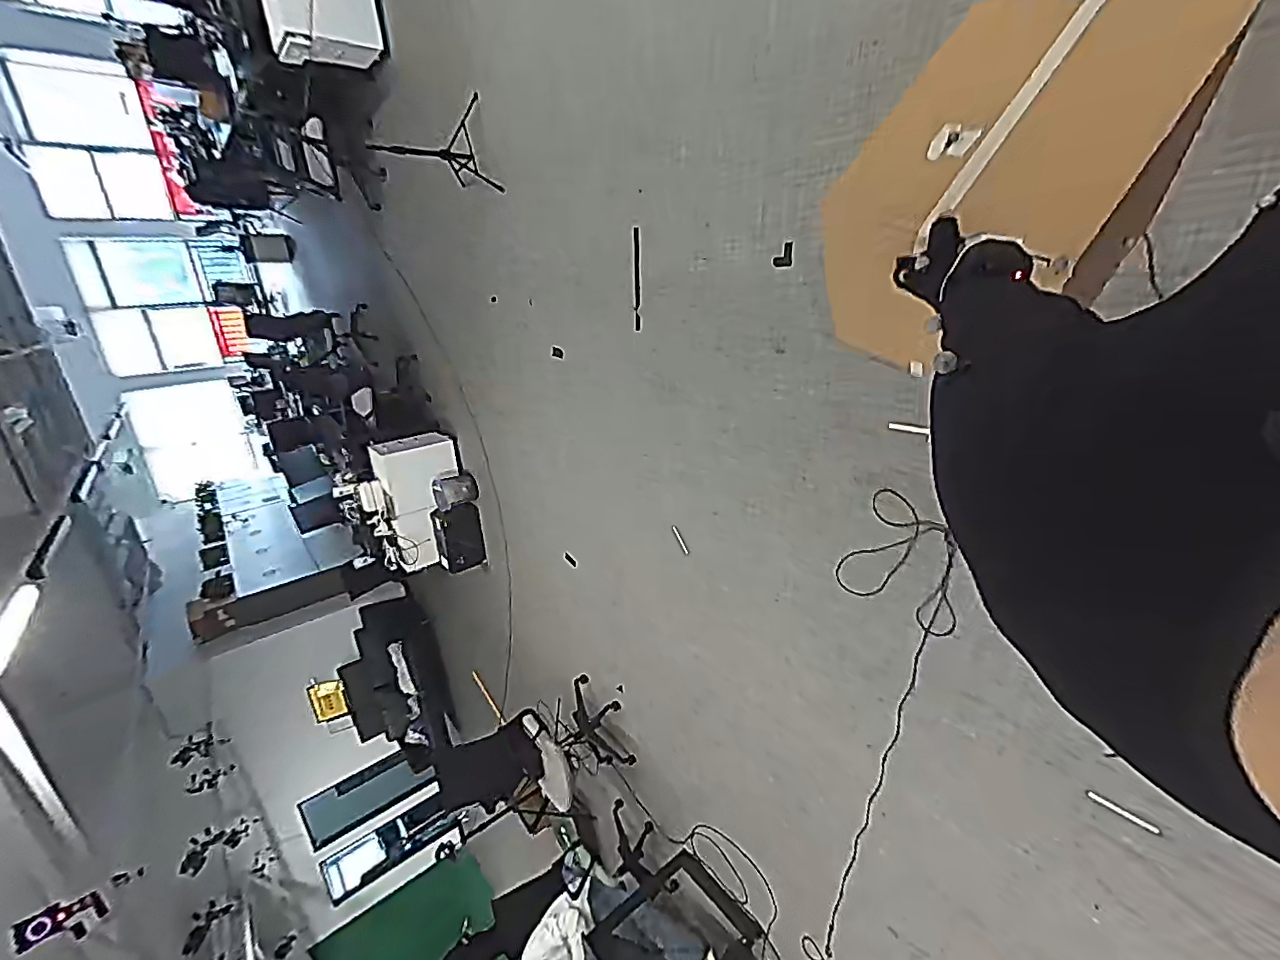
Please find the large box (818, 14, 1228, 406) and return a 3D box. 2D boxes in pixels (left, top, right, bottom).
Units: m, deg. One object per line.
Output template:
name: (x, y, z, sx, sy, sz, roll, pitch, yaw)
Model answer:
large box: (0.530, -0.395, 0.820, 0.320, 0.408, 0.320, 34, 174, 35)
